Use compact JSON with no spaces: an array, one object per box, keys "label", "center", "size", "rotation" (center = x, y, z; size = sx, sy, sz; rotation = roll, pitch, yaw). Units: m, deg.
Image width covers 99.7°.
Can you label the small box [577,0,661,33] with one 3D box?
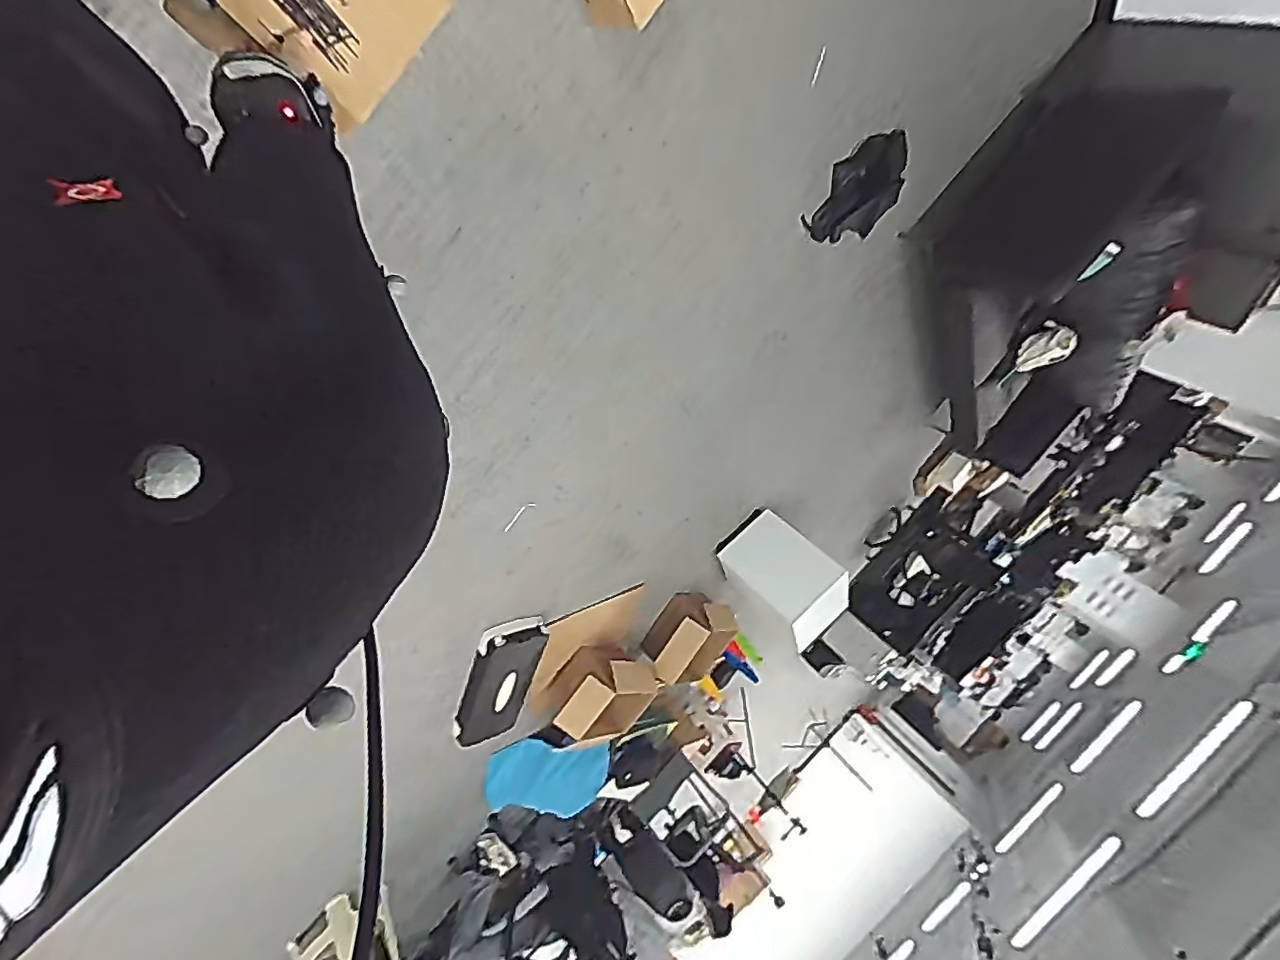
[{"label":"small box","center":[-0.044,-1.071,1.104],"size":[0.179,0.176,0.168],"rotation":[-51,145,5]}]
